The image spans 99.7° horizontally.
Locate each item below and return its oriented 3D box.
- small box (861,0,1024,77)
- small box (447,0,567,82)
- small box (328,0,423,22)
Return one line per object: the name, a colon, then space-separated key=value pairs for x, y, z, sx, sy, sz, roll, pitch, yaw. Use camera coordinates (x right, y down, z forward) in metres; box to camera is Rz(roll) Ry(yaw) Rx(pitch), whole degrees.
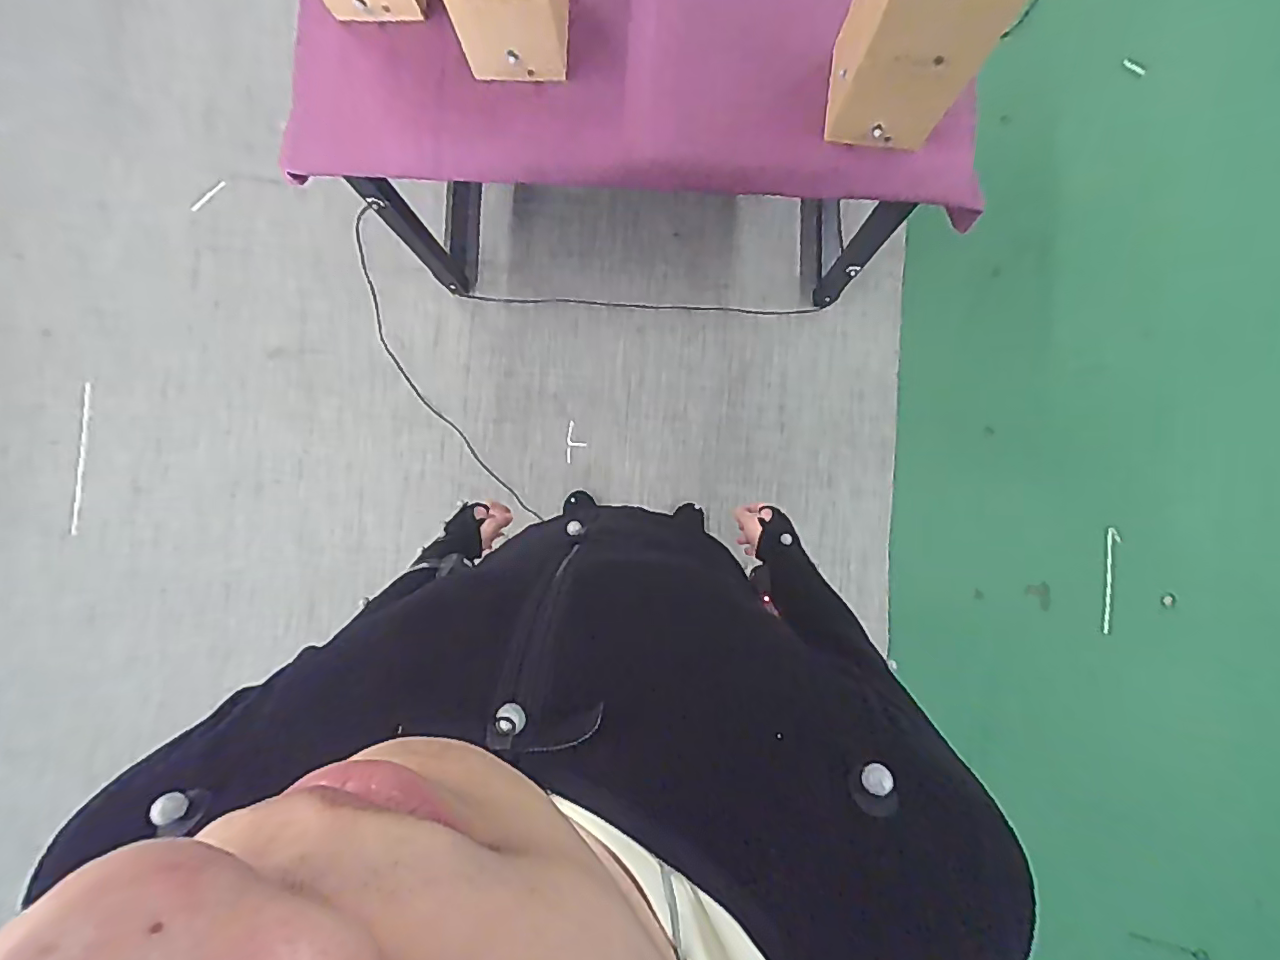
small box: x=0.405 y=-0.683 z=0.707 sx=0.168 sy=0.176 sz=0.179 roll=7 pitch=86 yaw=3
small box: x=-0.215 y=-0.806 z=0.889 sx=0.168 sy=0.176 sz=0.179 roll=2 pitch=87 yaw=1
small box: x=-0.472 y=-0.918 z=0.898 sx=0.168 sy=0.176 sz=0.179 roll=1 pitch=88 yaw=1
